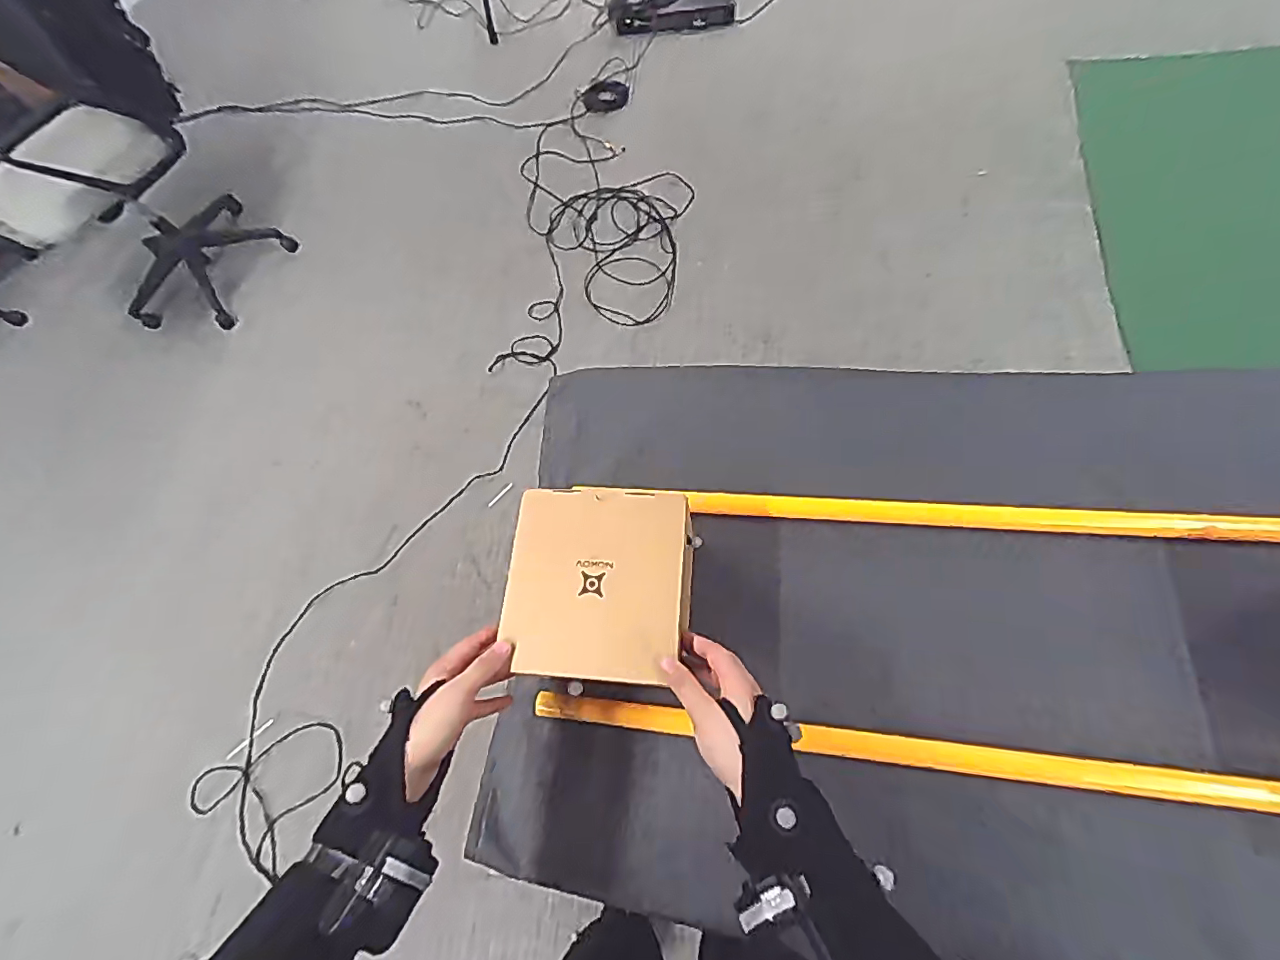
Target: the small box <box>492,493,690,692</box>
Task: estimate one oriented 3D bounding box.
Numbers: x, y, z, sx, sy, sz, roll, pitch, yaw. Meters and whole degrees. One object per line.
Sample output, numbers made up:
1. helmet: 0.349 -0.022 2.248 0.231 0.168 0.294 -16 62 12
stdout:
1. small box: -0.035 0.125 0.571 0.168 0.176 0.179 1 67 8
